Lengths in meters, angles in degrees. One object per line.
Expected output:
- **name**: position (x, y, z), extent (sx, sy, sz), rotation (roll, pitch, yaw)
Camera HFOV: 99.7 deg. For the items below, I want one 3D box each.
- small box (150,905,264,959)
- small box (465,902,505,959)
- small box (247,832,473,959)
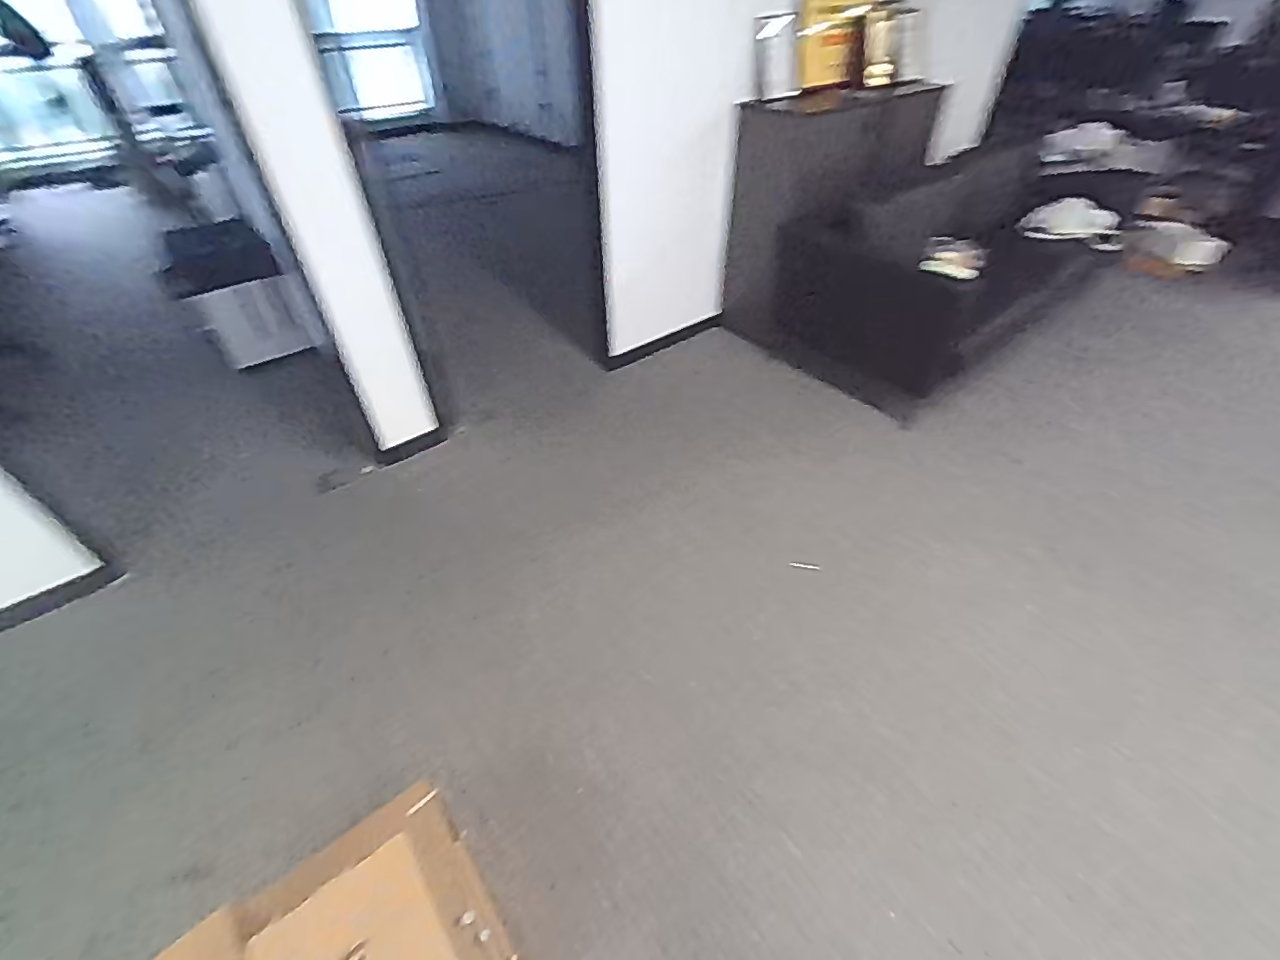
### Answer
- **small box**: position (-0.552, 0.696, 0.678), extent (0.179, 0.176, 0.168), rotation (-32, 48, -28)
- **small box**: position (-0.283, 0.791, 0.806), extent (0.179, 0.176, 0.168), rotation (-28, 47, -27)
- **small box**: position (-0.288, 0.544, 0.591), extent (0.168, 0.176, 0.179), rotation (-27, 48, -27)
